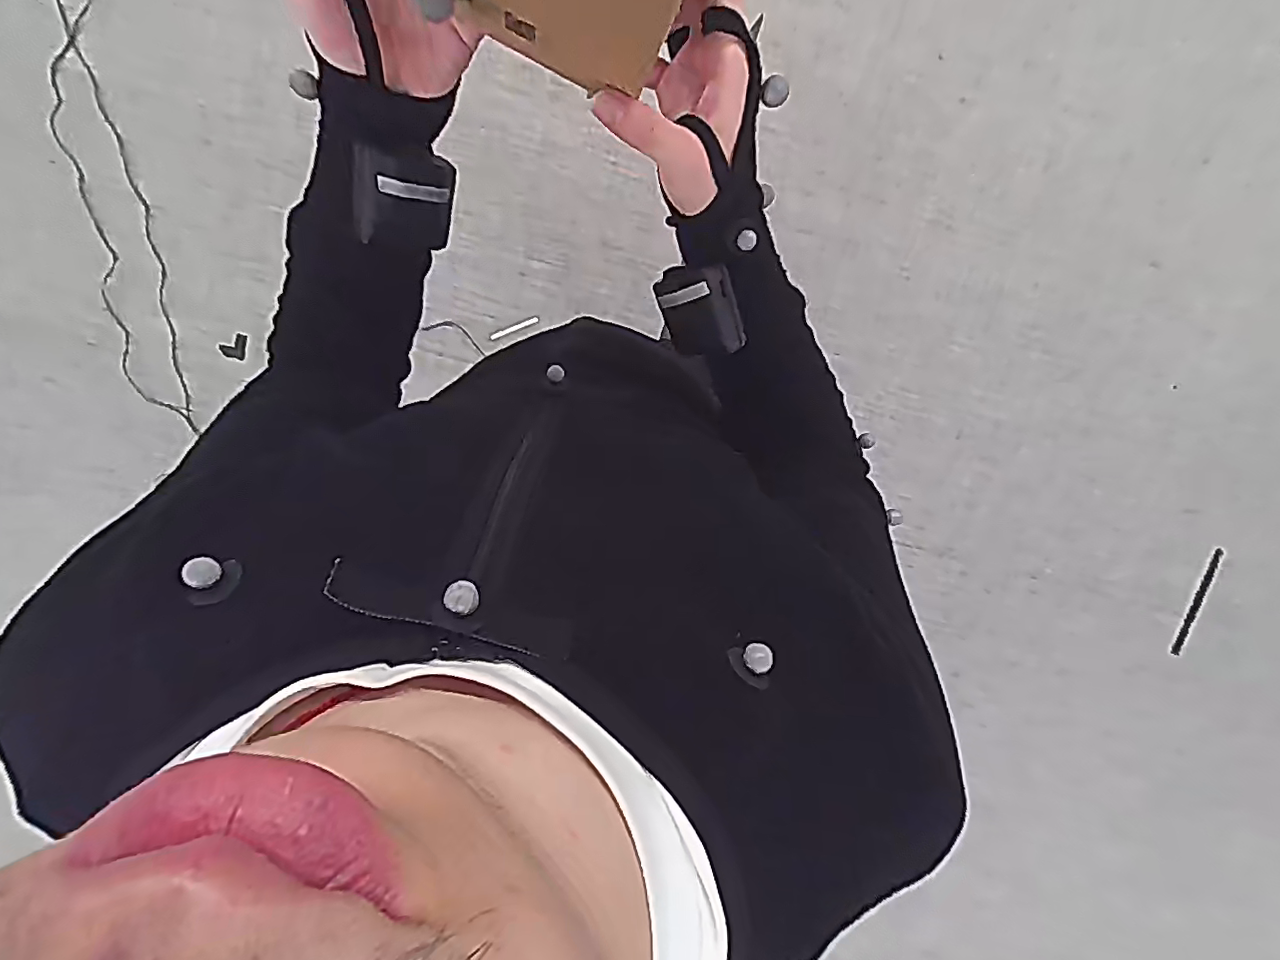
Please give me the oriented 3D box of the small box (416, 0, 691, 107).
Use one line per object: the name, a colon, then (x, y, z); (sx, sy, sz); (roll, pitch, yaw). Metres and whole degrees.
small box: (-0.029, -0.285, 0.187); (0.168, 0.176, 0.179); (19, 100, -15)
